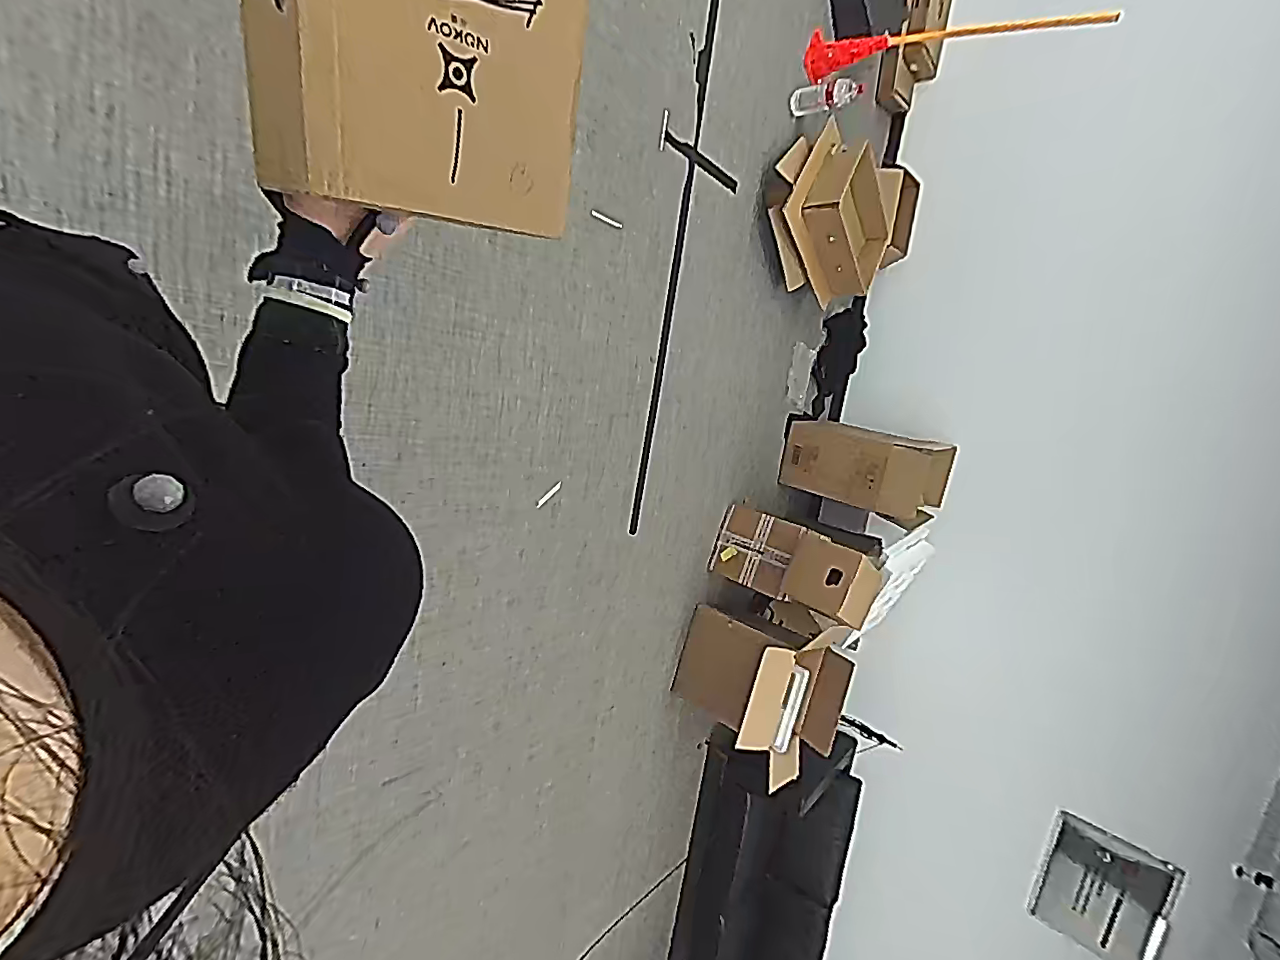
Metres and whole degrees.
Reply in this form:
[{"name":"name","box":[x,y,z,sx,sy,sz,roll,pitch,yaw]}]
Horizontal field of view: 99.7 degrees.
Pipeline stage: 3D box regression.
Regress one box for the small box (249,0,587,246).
[{"name":"small box","box":[-0.158,-0.276,0.377,0.168,0.176,0.179,-10,119,-41]}]
